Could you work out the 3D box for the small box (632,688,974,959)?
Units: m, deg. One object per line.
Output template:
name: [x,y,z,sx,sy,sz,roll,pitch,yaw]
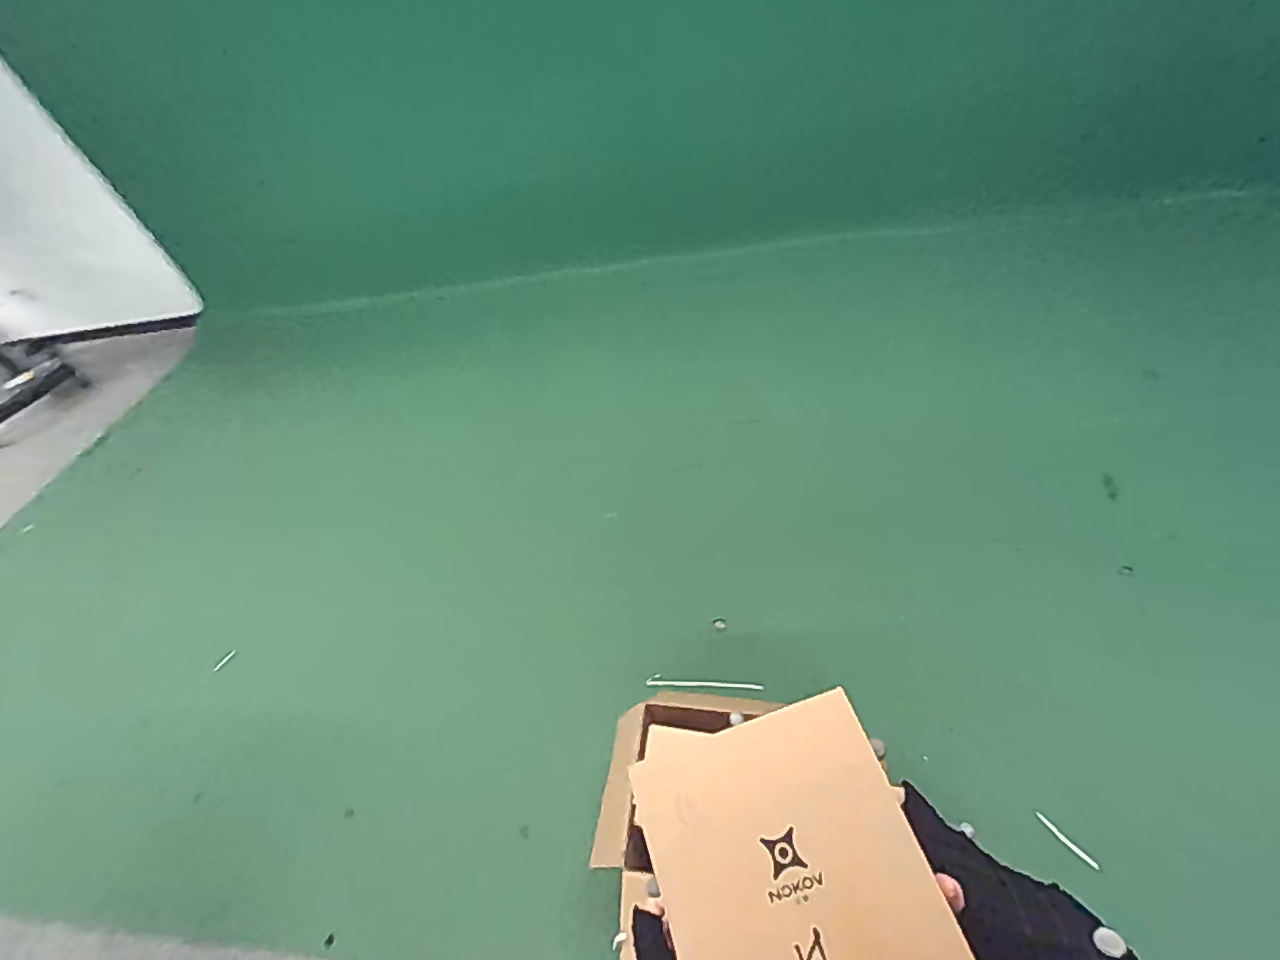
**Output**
small box: [0.105,0.283,0.410,0.168,0.176,0.179,-20,61,-1]
